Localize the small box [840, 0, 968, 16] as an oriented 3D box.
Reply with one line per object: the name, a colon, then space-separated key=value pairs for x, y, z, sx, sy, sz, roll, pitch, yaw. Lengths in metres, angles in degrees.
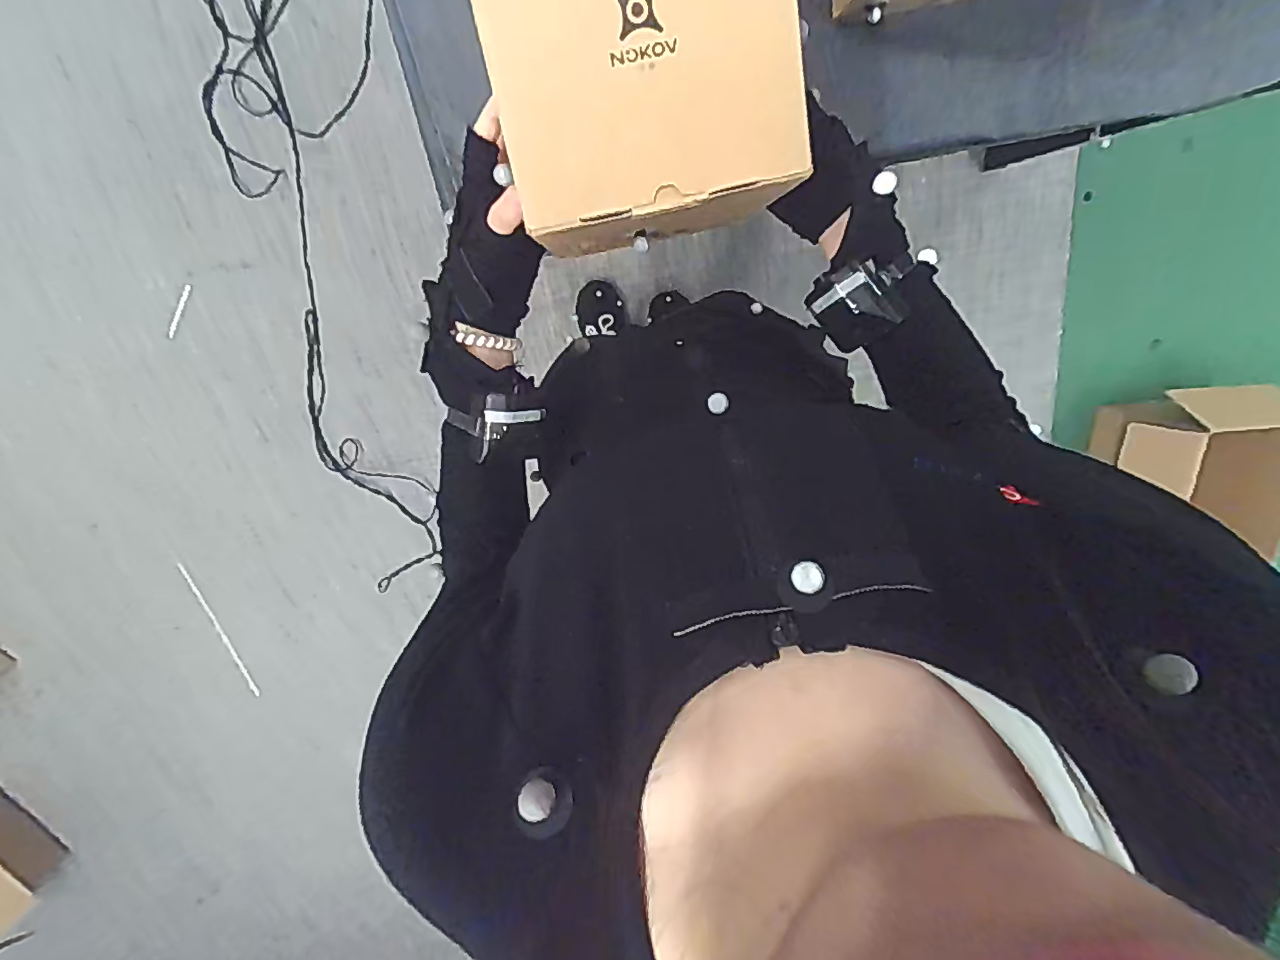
small box: x=0.282 y=-0.558 z=0.483 sx=0.168 sy=0.176 sz=0.179 roll=-11 pitch=109 yaw=-1

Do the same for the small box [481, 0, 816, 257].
small box: x=-0.001 y=-0.260 z=0.354 sx=0.168 sy=0.176 sz=0.179 roll=-12 pitch=108 yaw=1
